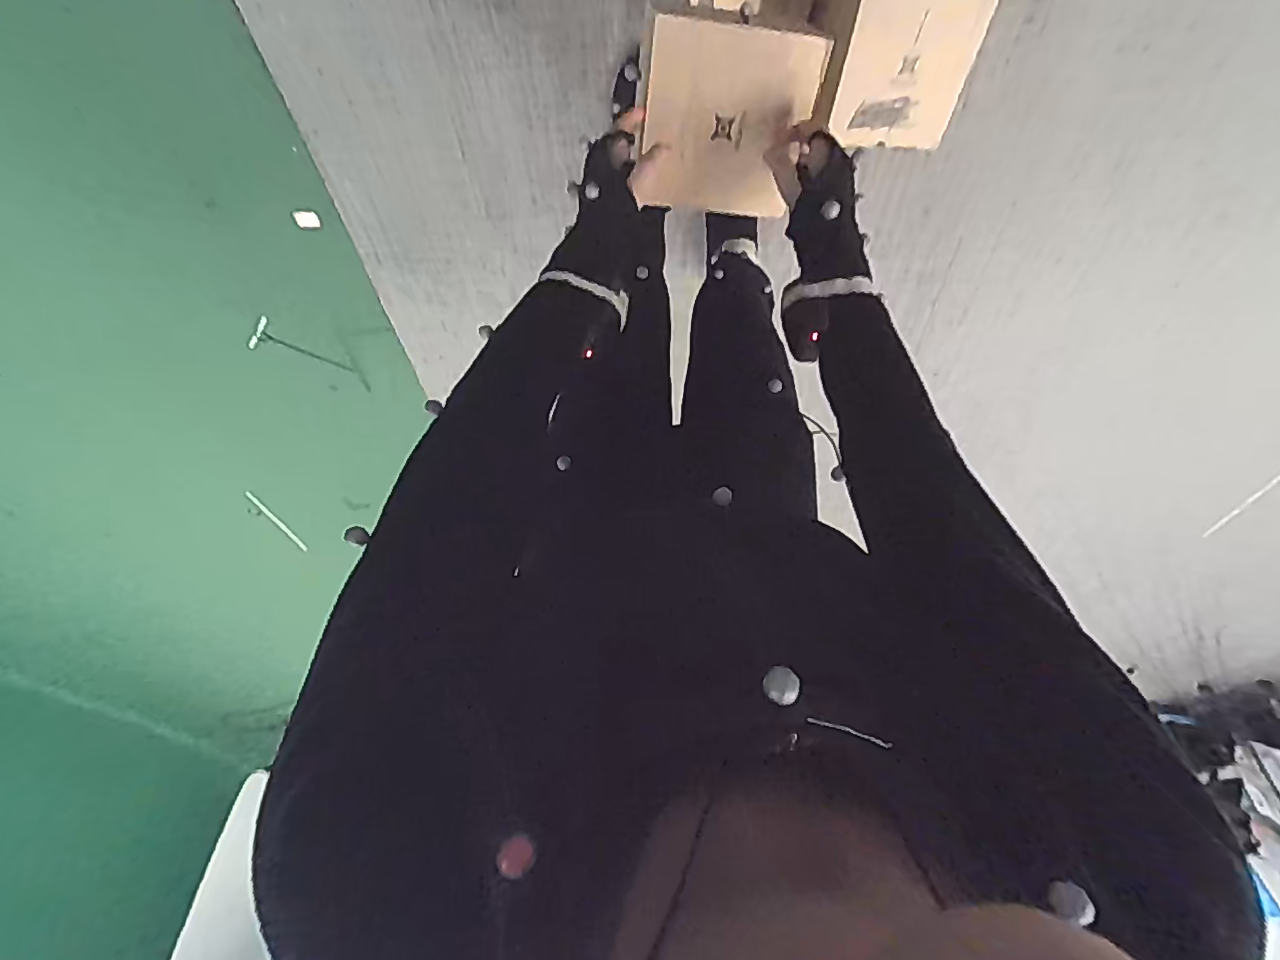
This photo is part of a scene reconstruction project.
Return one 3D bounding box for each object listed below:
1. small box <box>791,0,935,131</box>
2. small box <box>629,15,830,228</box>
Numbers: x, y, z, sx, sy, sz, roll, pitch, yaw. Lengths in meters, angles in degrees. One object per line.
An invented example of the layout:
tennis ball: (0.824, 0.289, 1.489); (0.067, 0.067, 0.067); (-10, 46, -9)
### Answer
small box: (0.335, -0.688, 0.863); (0.168, 0.176, 0.179); (-3, 140, 3)
small box: (0.084, -0.411, 0.620); (0.179, 0.176, 0.168); (3, 134, -6)
